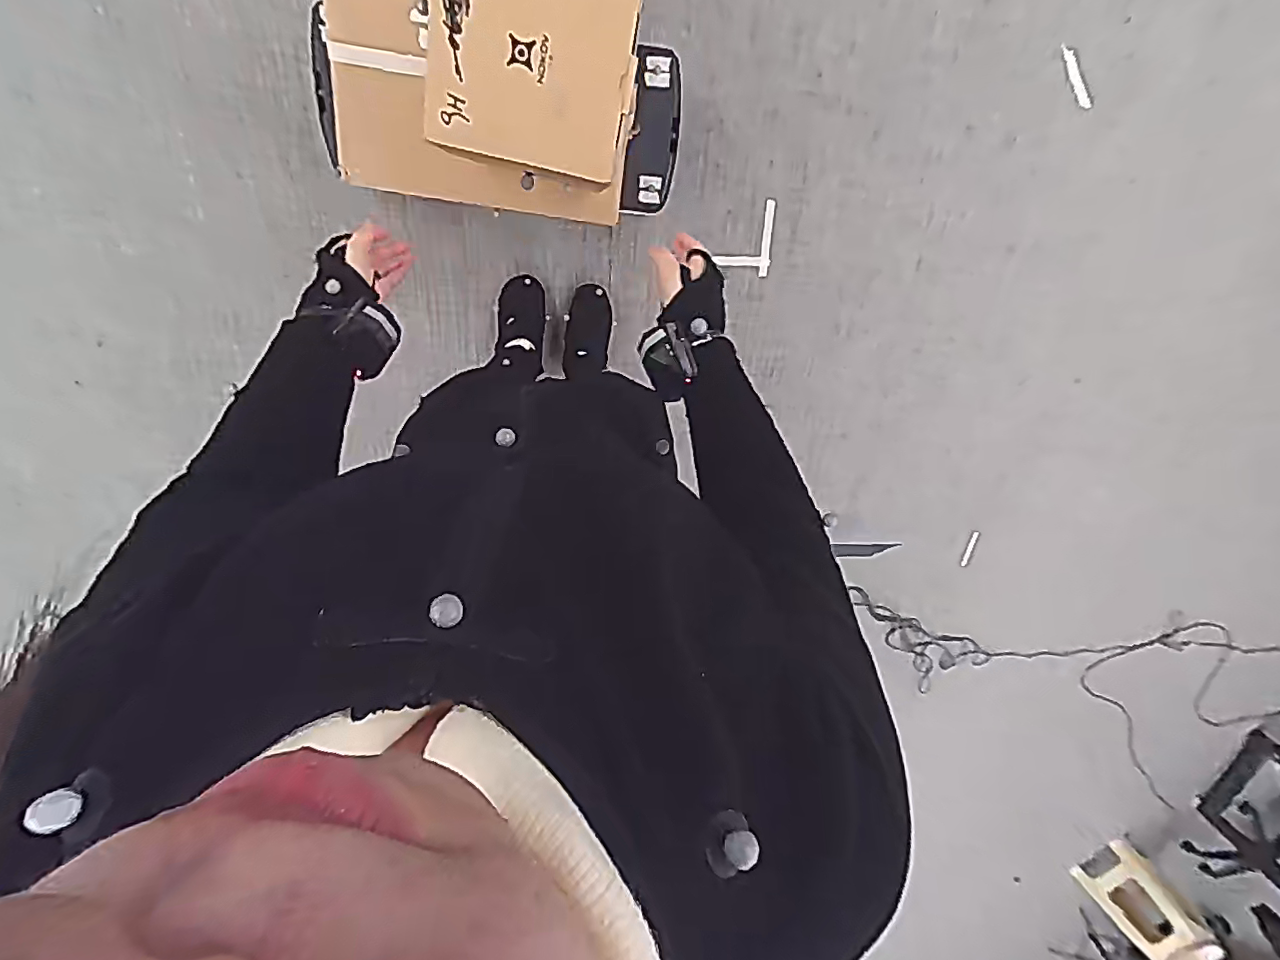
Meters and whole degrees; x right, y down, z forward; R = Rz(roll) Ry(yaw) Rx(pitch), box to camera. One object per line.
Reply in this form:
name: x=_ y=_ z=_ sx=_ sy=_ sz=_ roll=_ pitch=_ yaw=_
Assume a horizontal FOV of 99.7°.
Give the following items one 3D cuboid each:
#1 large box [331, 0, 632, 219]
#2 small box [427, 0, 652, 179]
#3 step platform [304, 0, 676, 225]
large box: x=-0.218 y=-0.616 z=0.868 sx=0.408 sy=0.320 sz=0.320 roll=5 pitch=115 yaw=-9
small box: x=-0.097 y=-0.406 z=0.529 sx=0.179 sy=0.176 sz=0.168 roll=8 pitch=114 yaw=-12
step platform: x=-0.271 y=-0.721 z=1.077 sx=0.684 sy=0.204 sz=0.286 roll=7 pitch=116 yaw=-10
